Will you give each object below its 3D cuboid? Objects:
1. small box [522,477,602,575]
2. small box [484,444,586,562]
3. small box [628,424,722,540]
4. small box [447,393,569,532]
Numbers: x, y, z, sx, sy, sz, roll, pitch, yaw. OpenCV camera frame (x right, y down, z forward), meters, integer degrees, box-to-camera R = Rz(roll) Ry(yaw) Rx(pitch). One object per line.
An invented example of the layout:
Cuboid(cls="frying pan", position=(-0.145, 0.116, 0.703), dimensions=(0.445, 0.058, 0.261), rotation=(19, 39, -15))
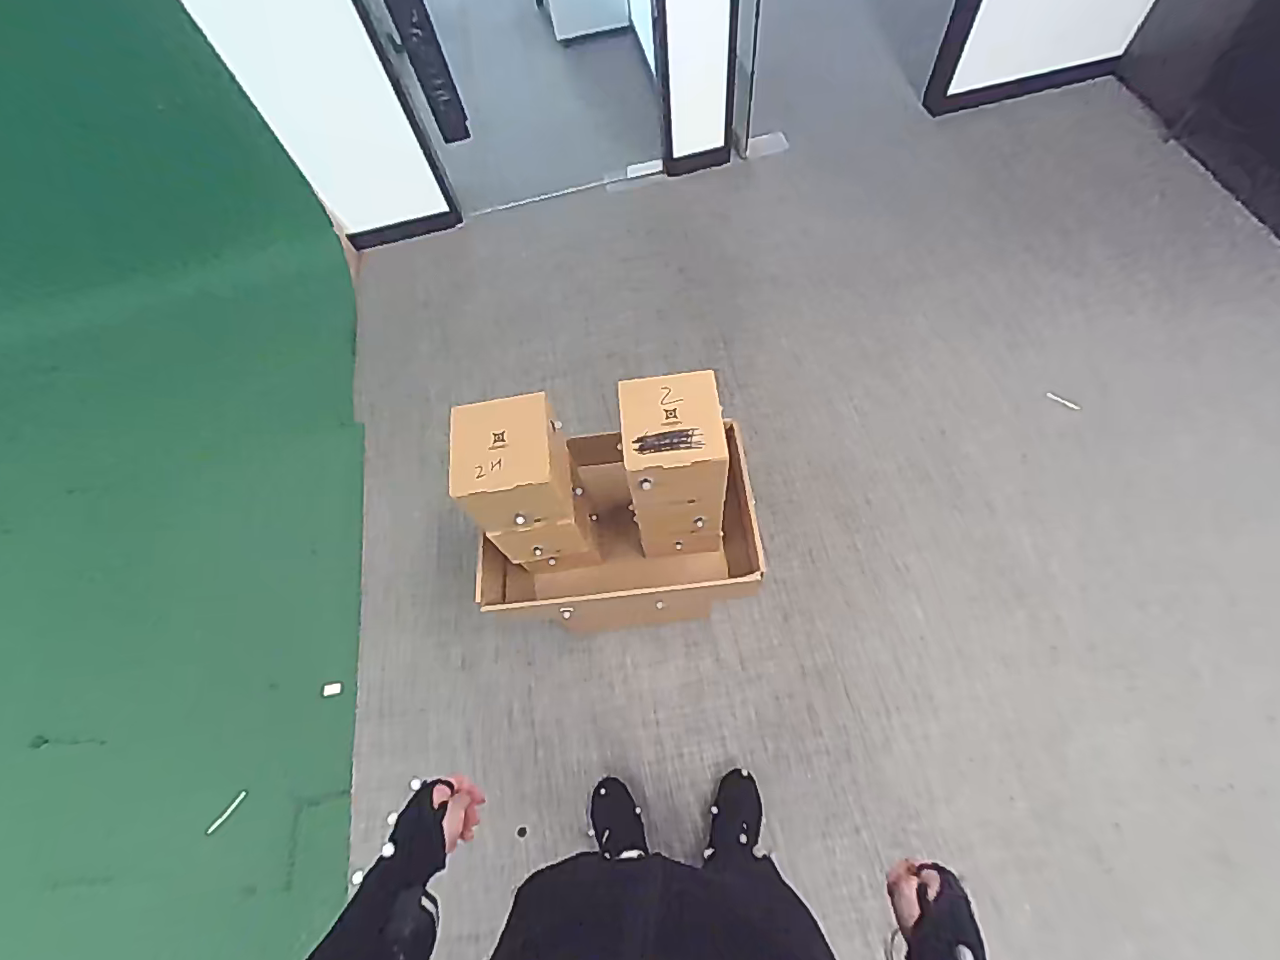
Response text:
Cuboid(cls="small box", position=(-0.192, 0.112, 1.248), dimensions=(0.179, 0.176, 0.168), rotation=(-8, 63, 1))
Cuboid(cls="small box", position=(-0.209, 0.051, 1.097), dimensions=(0.168, 0.176, 0.179), rotation=(-9, 64, 1))
Cuboid(cls="small box", position=(0.070, 0.012, 1.085), dimensions=(0.168, 0.176, 0.179), rotation=(-6, 62, 2))
Cuboid(cls="small box", position=(-0.224, -0.027, 0.953), dimensions=(0.168, 0.176, 0.179), rotation=(-9, 64, 2))
